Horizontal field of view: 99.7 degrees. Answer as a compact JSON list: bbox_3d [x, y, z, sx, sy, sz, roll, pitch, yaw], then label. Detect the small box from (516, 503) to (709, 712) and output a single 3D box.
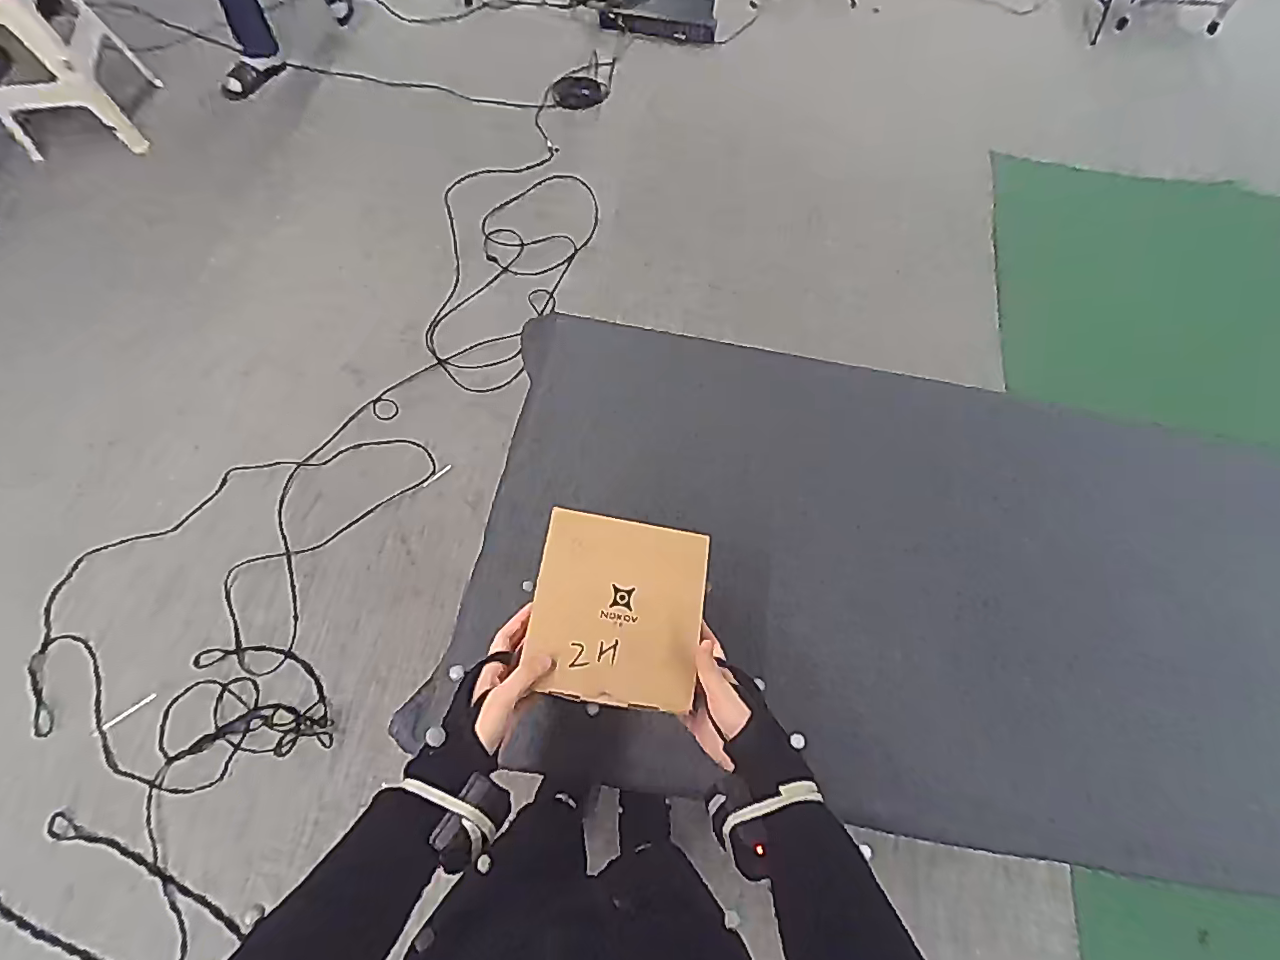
[{"bbox_3d":[-0.033,0.147,0.595,0.168,0.176,0.179,11,68,-4],"label":"small box"}]
